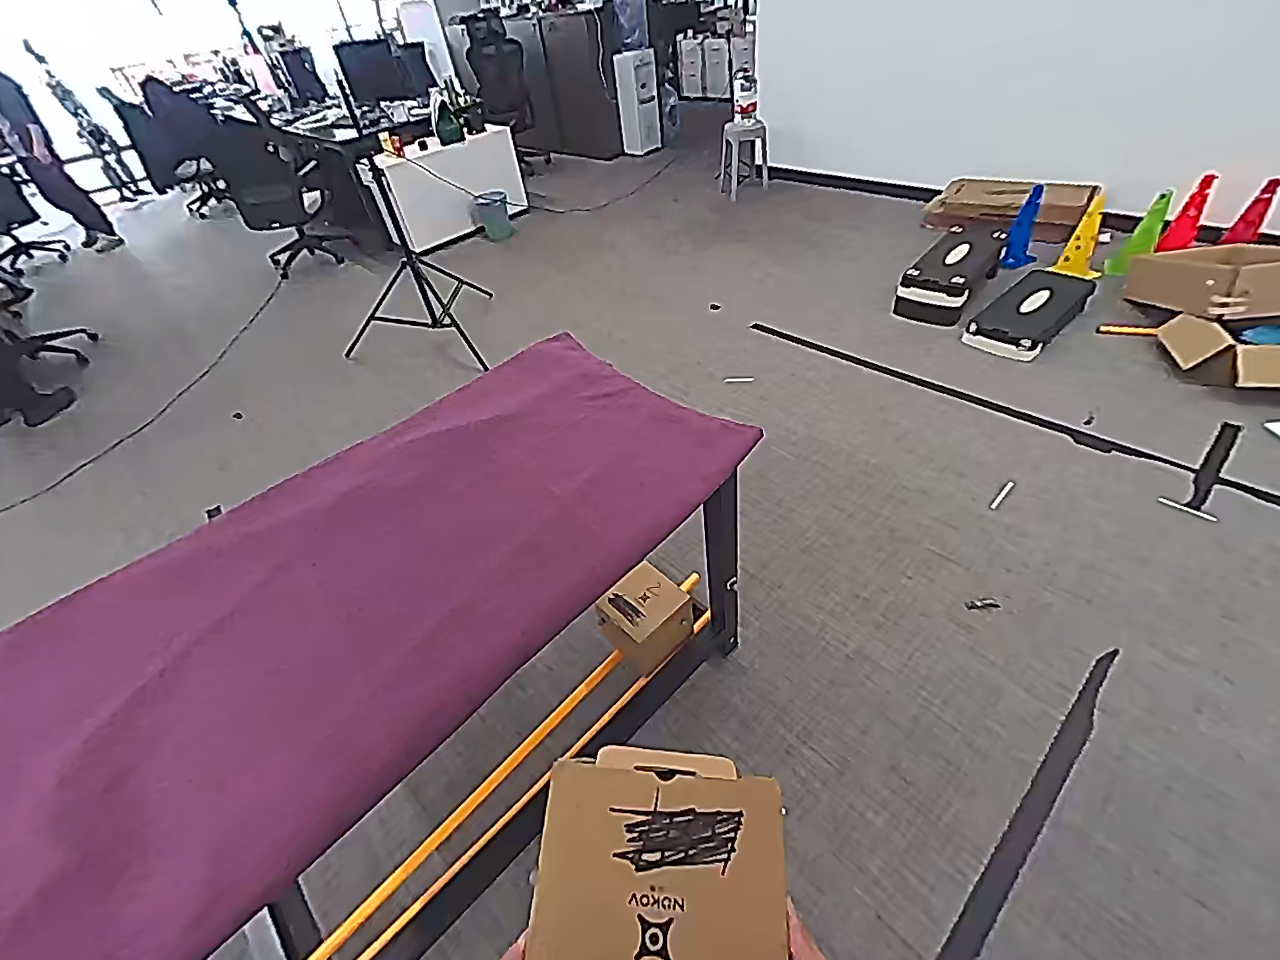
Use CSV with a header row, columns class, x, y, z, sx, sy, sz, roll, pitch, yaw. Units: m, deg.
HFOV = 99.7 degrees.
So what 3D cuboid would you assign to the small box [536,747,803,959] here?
class,x,y,z,sx,sy,sz,roll,pitch,yaw
small box,0.022,0.319,0.409,0.168,0.176,0.179,3,55,5
